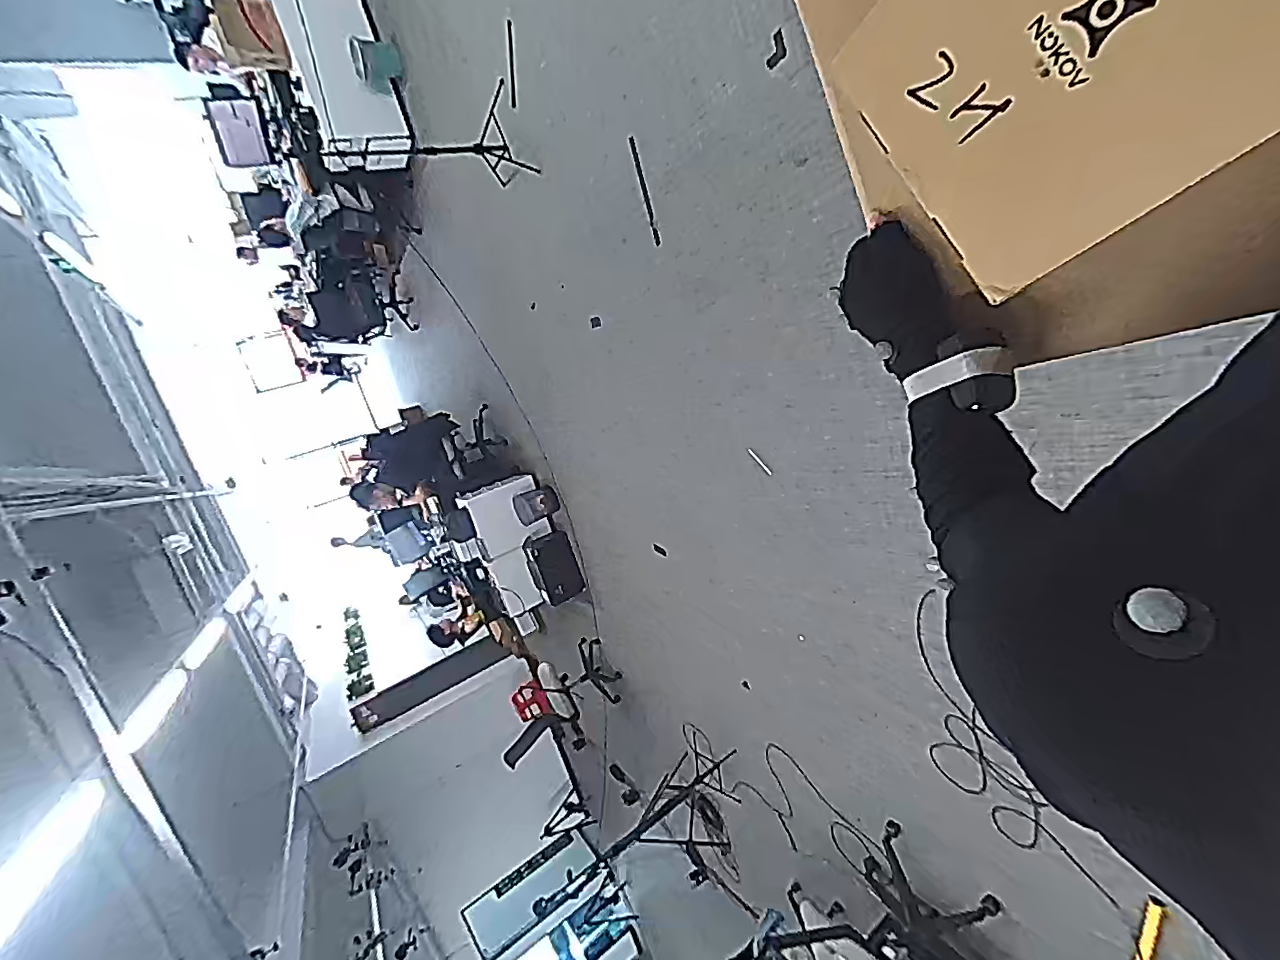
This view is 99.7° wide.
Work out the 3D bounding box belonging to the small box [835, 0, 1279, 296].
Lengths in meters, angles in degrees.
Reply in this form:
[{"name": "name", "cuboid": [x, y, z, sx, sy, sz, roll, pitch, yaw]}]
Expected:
[{"name": "small box", "cuboid": [0.248, -0.232, 0.280, 0.168, 0.176, 0.179, 57, 145, 2]}]
